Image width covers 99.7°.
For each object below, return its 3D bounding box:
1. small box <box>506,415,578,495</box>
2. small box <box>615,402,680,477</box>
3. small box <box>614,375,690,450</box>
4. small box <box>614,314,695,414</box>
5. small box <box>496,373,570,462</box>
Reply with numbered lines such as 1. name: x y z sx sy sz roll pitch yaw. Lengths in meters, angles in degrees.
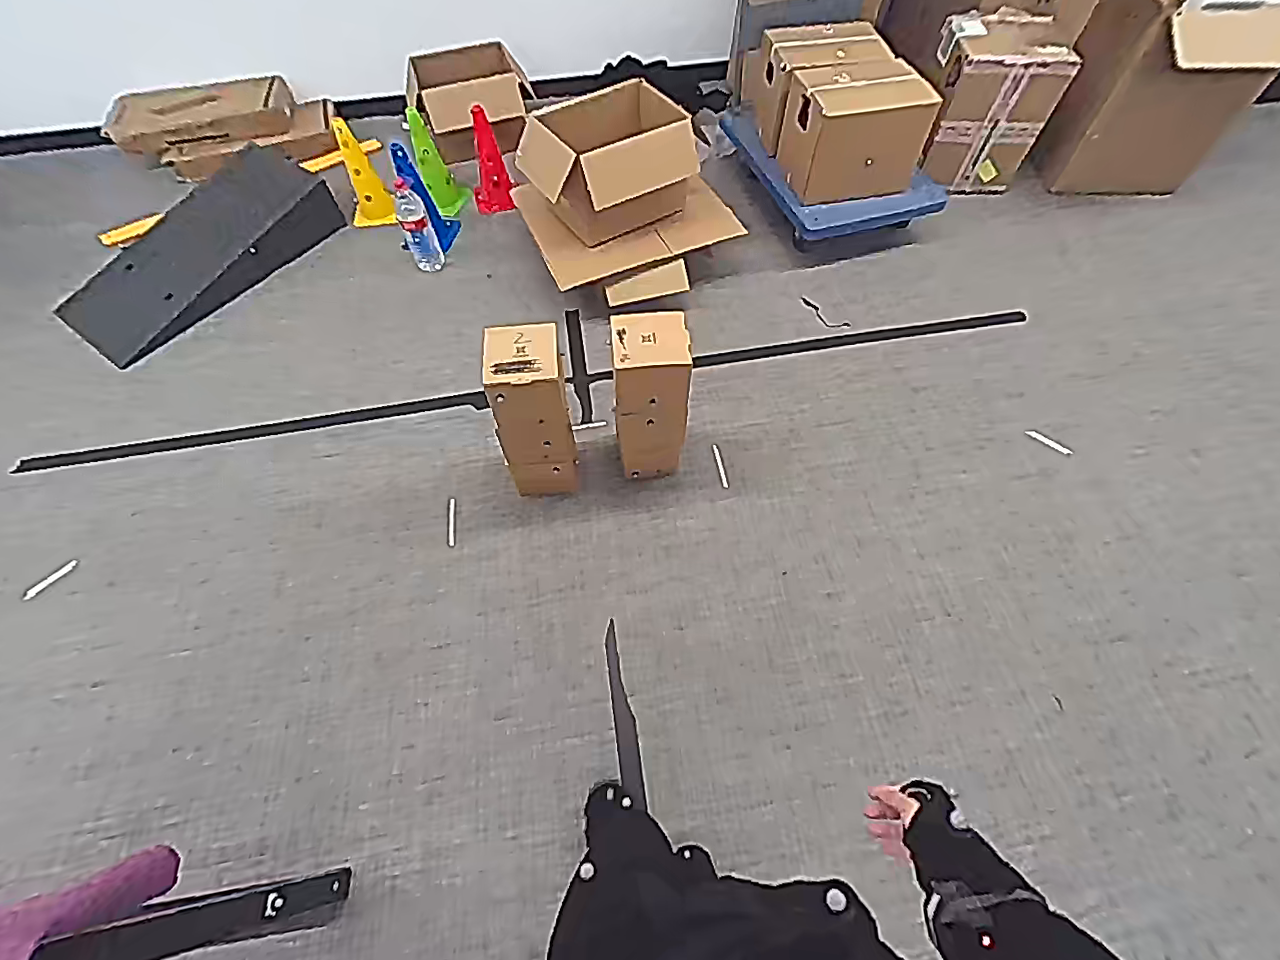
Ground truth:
1. small box: -0.276 -0.067 1.552 0.179 0.176 0.168 -3 59 -2
2. small box: 0.022 -0.123 1.580 0.168 0.176 0.179 -9 59 -5
3. small box: 0.028 -0.192 1.430 0.179 0.176 0.168 -7 60 -4
4. small box: 0.028 -0.272 1.287 0.179 0.176 0.168 -3 60 -3
5. small box: -0.274 -0.157 1.417 0.168 0.176 0.179 -4 58 -4
